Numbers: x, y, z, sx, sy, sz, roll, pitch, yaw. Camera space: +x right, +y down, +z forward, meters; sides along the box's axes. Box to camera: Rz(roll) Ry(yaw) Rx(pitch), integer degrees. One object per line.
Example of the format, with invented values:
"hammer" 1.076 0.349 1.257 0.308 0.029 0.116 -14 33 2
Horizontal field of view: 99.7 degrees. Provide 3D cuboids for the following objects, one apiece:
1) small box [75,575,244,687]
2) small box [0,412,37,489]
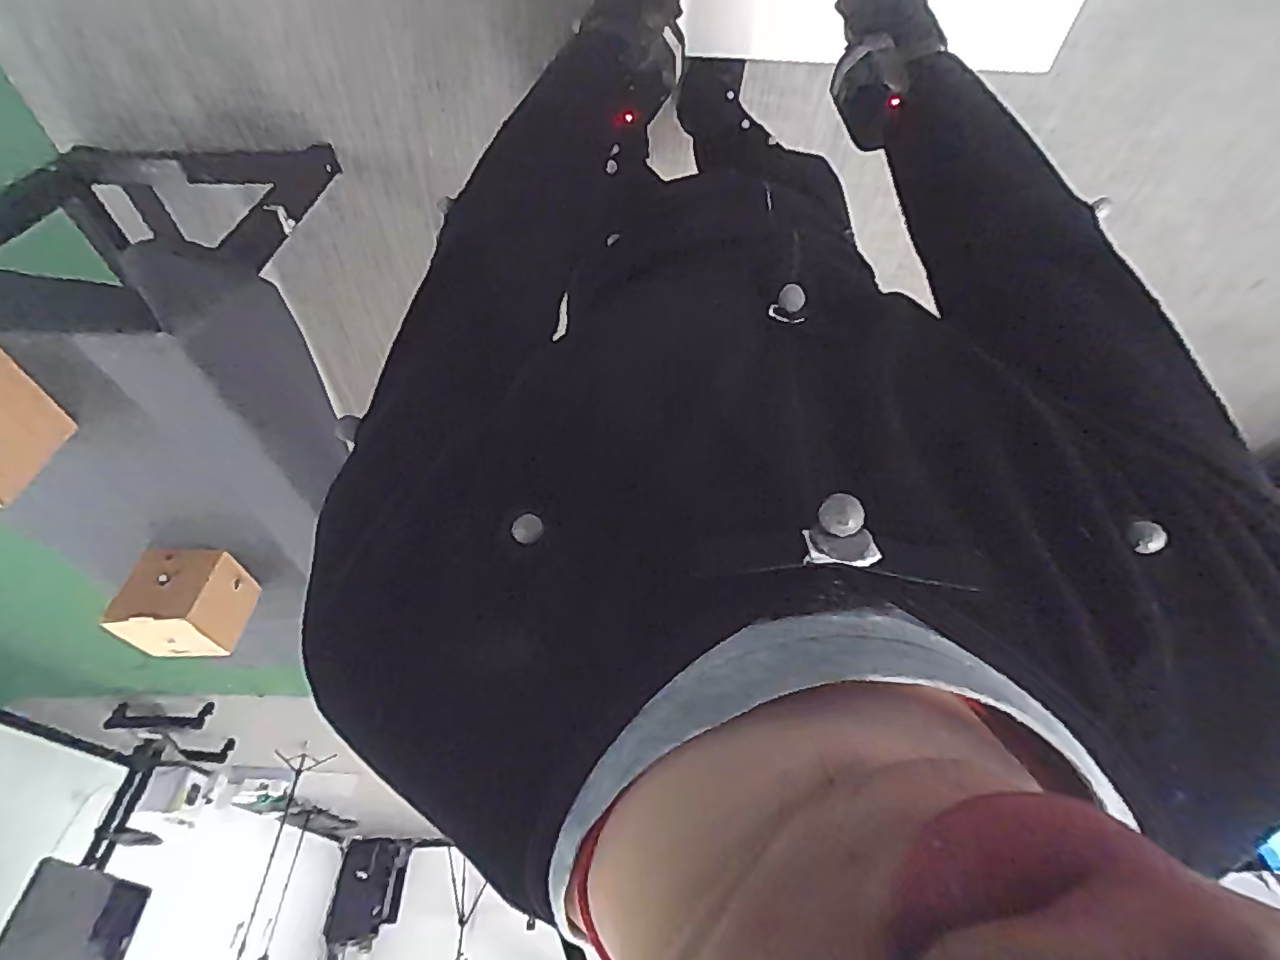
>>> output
"small box" -0.967 0.305 1.110 0.168 0.176 0.179 -1 139 -5
"small box" -0.973 -0.044 0.699 0.168 0.176 0.179 -1 139 -7
